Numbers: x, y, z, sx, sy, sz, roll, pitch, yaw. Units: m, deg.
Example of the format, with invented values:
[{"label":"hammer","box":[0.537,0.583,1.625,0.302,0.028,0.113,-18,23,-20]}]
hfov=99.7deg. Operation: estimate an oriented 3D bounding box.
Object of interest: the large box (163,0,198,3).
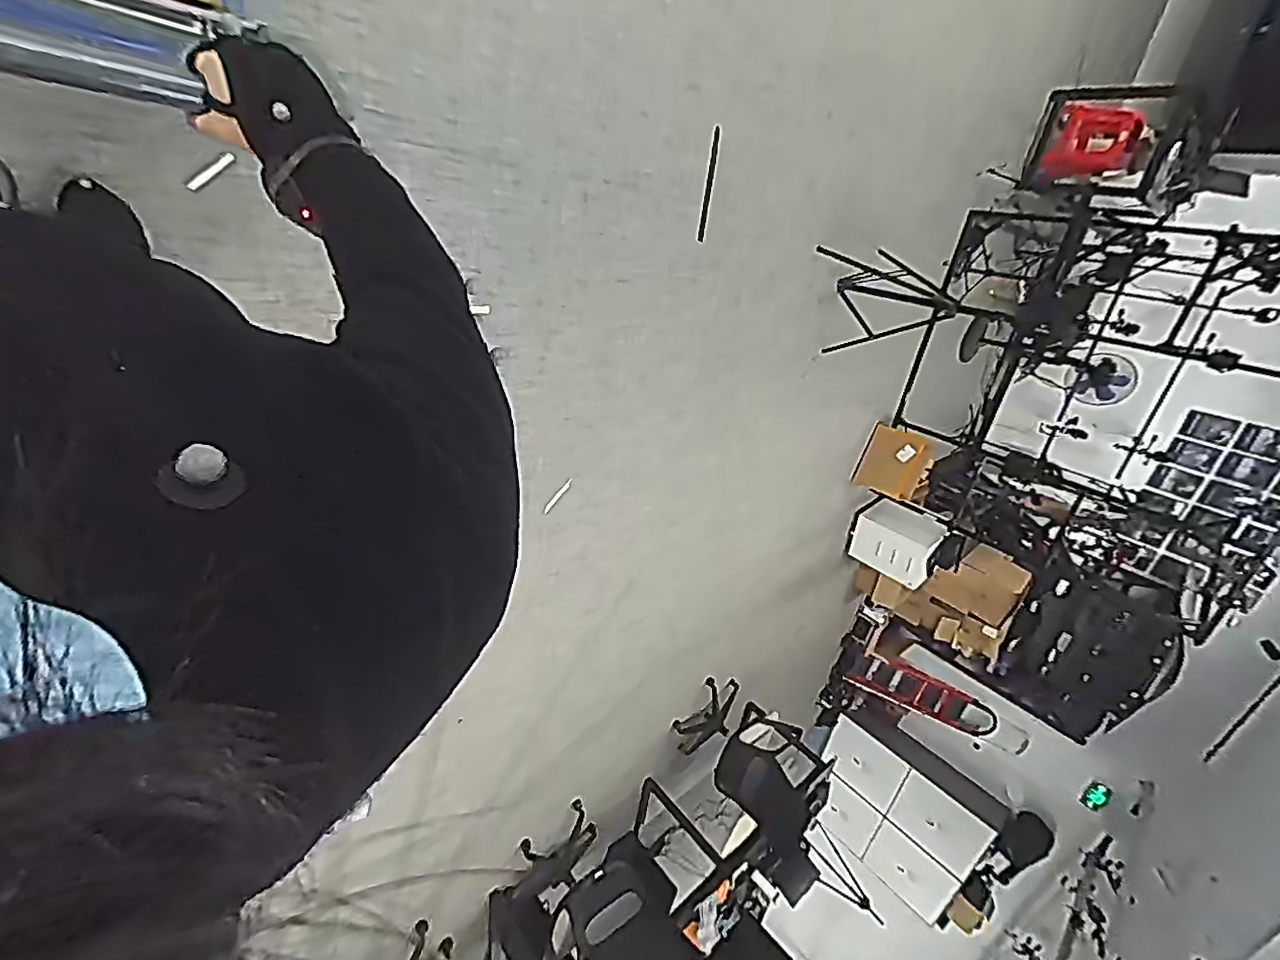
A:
[{"label":"large box","box":[-0.756,-0.777,0.579,0.408,0.320,0.320,-16,132,-41]}]
